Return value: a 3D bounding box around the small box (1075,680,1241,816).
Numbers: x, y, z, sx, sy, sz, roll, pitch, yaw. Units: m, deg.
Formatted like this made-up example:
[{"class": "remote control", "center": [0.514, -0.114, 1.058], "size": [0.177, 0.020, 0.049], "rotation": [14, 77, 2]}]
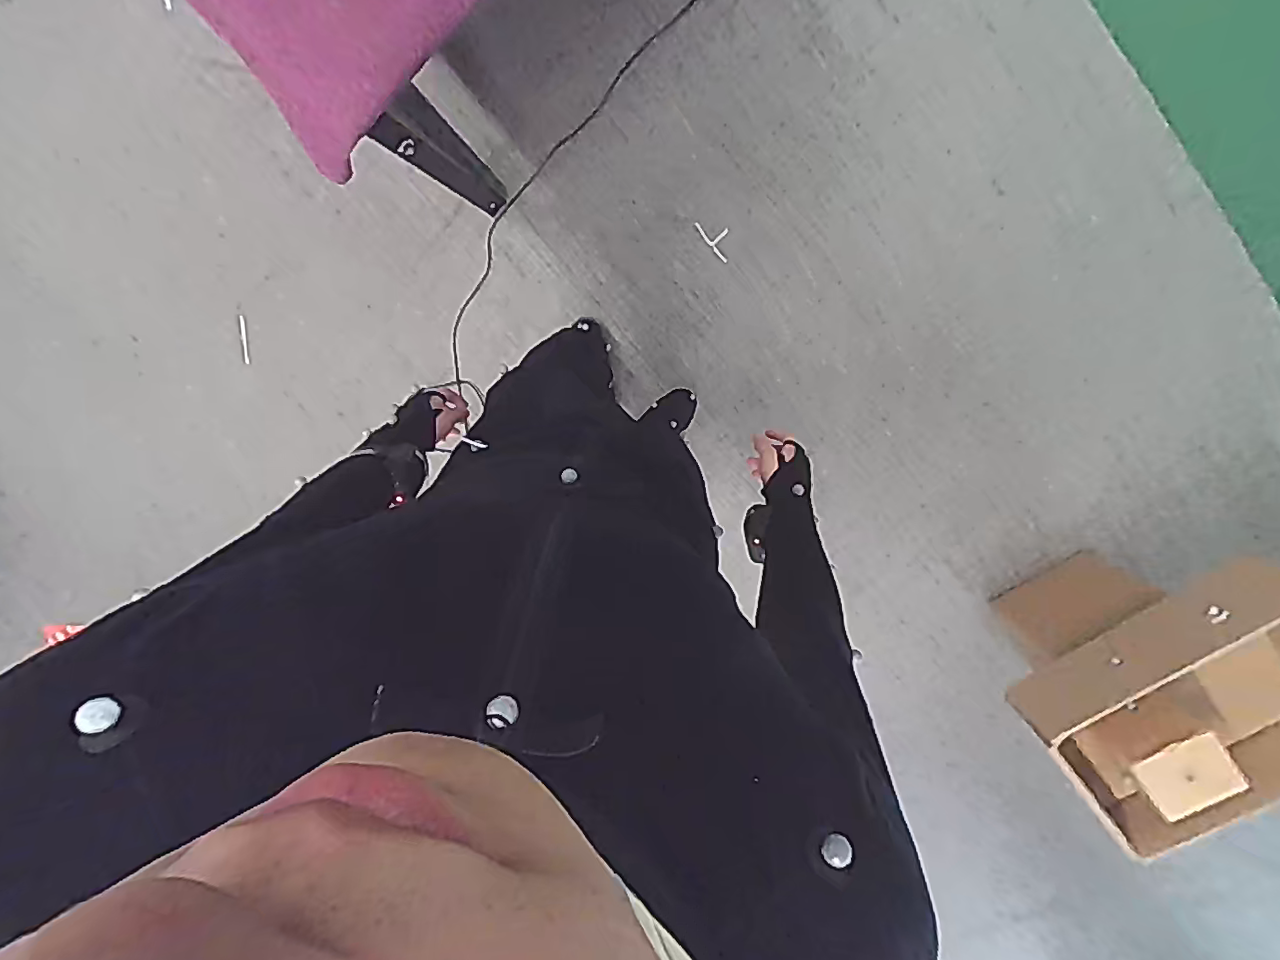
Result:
[{"class": "small box", "center": [1.129, 0.583, 1.194], "size": [0.168, 0.176, 0.179], "rotation": [-37, 99, 13]}]
